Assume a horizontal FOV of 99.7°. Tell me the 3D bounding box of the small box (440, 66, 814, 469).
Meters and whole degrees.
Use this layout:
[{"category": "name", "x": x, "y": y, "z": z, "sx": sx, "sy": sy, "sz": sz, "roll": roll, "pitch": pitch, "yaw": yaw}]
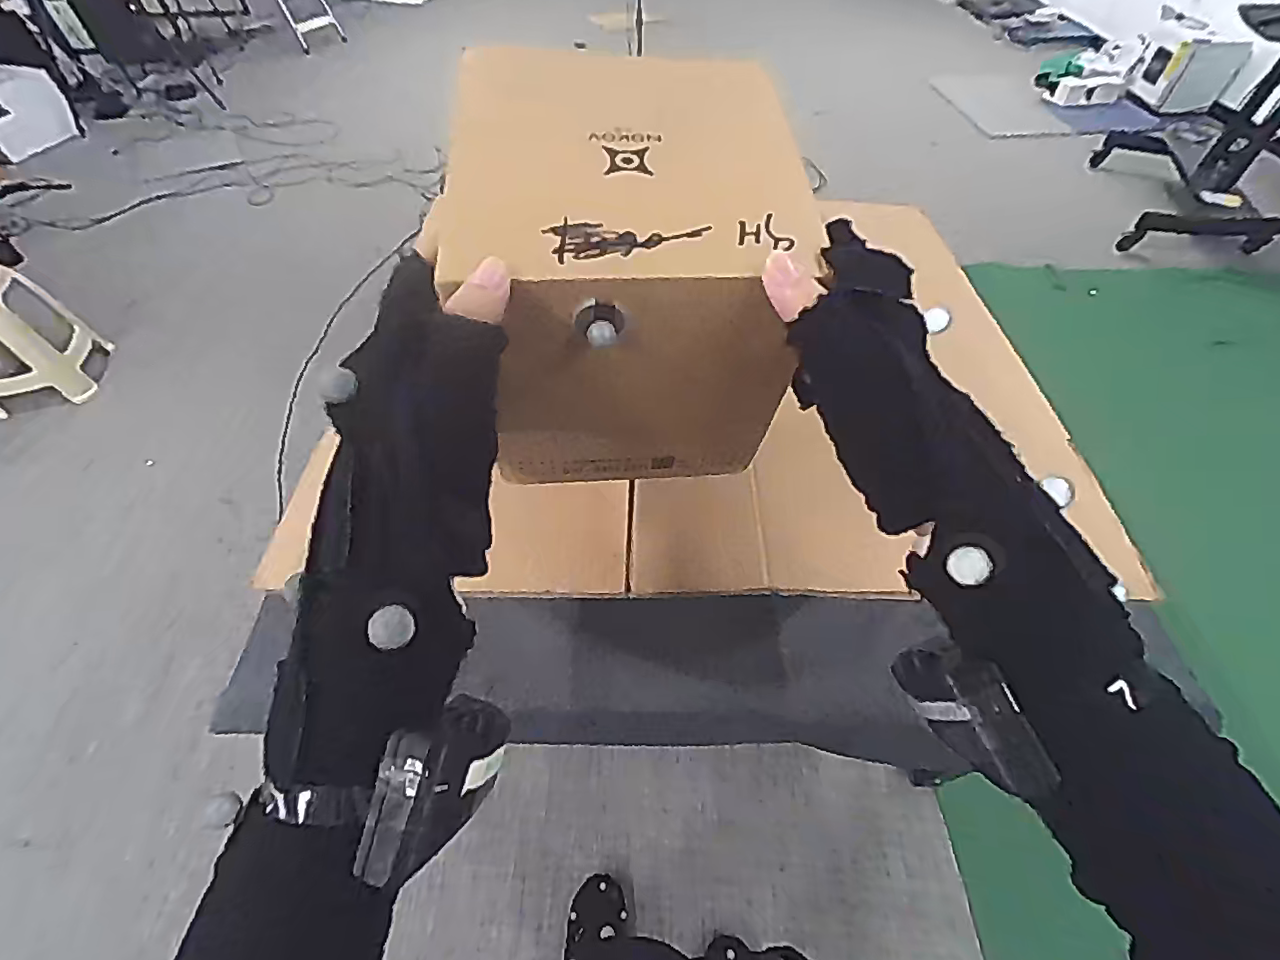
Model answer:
[{"category": "small box", "x": -0.014, "y": -0.124, "z": 0.344, "sx": 0.168, "sy": 0.176, "sz": 0.179, "roll": -2, "pitch": 60, "yaw": -5}]
